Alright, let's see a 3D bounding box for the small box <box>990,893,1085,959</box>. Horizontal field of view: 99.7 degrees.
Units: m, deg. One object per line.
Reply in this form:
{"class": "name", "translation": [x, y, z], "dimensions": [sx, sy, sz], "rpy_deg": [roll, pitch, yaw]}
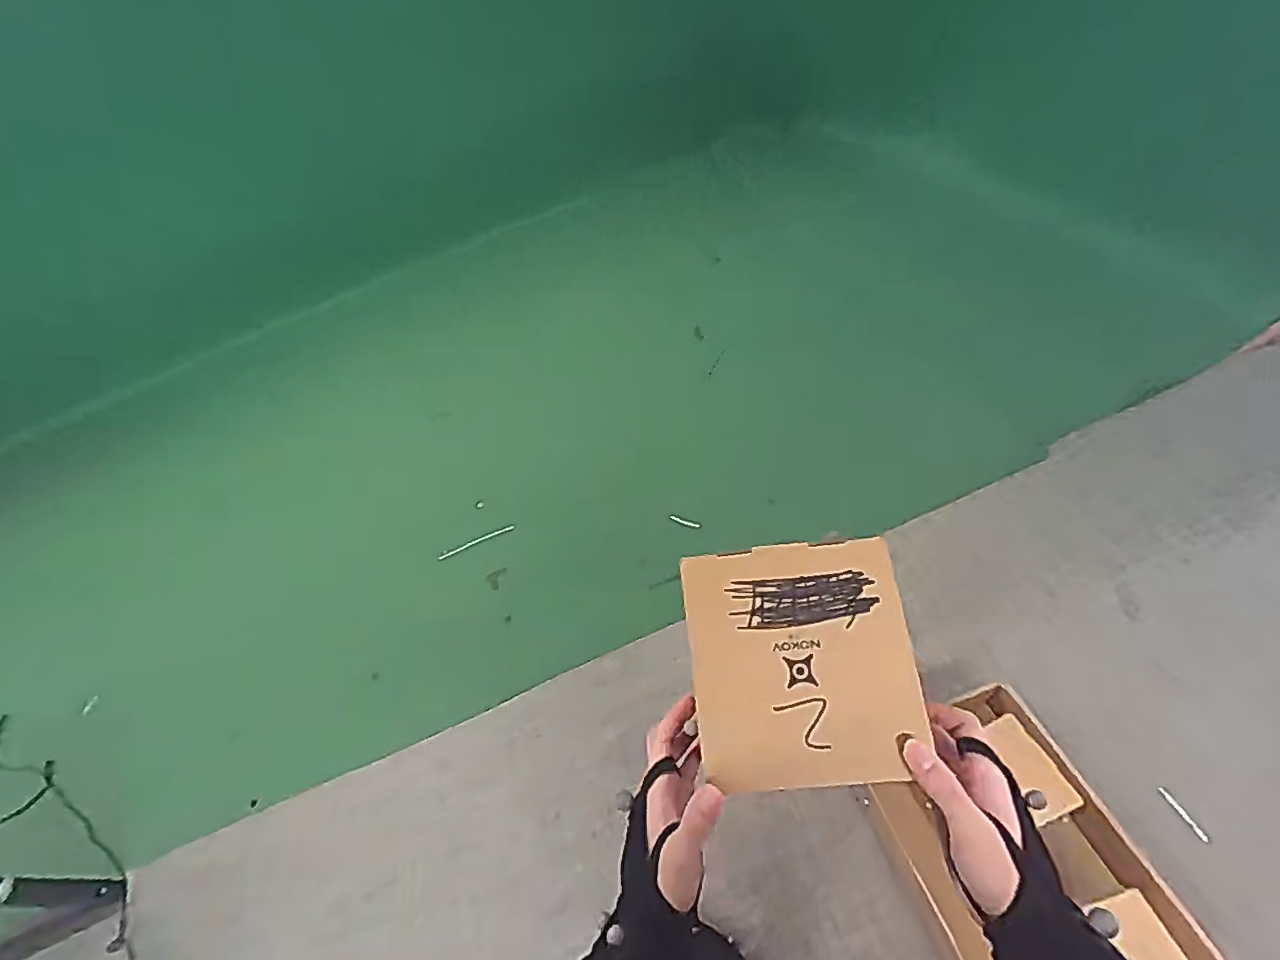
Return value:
{"class": "small box", "translation": [0.789, 0.886, 0.992], "dimensions": [0.168, 0.176, 0.179], "rpy_deg": [-20, 50, 2]}

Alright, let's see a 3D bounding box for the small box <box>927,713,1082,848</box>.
{"class": "small box", "translation": [0.686, 0.586, 1.046], "dimensions": [0.179, 0.176, 0.168], "rpy_deg": [-25, 51, -3]}

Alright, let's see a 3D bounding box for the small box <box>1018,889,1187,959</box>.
{"class": "small box", "translation": [0.751, 0.785, 0.870], "dimensions": [0.179, 0.176, 0.168], "rpy_deg": [-20, 51, 2]}
